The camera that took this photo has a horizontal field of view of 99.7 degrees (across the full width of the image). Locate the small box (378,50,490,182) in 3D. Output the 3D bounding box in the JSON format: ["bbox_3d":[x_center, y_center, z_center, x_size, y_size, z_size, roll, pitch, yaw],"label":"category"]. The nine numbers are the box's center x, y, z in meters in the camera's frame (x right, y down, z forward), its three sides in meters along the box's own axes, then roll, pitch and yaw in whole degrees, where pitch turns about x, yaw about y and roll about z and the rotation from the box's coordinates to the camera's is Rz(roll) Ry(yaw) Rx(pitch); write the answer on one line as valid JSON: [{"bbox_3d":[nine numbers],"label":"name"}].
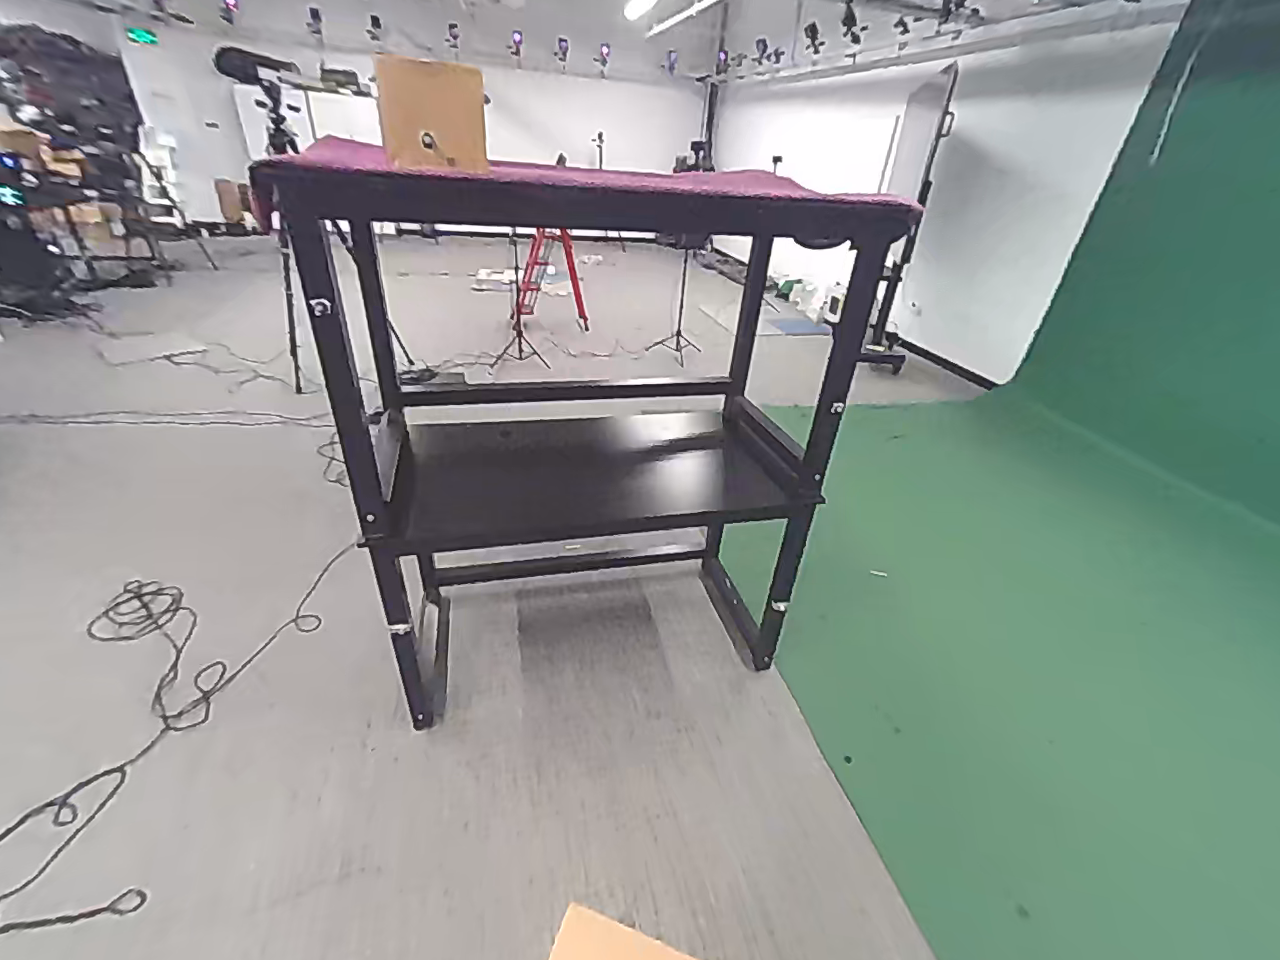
[{"bbox_3d":[-0.363,-0.642,0.972,0.168,0.176,0.179,-5,32,-18],"label":"small box"}]
